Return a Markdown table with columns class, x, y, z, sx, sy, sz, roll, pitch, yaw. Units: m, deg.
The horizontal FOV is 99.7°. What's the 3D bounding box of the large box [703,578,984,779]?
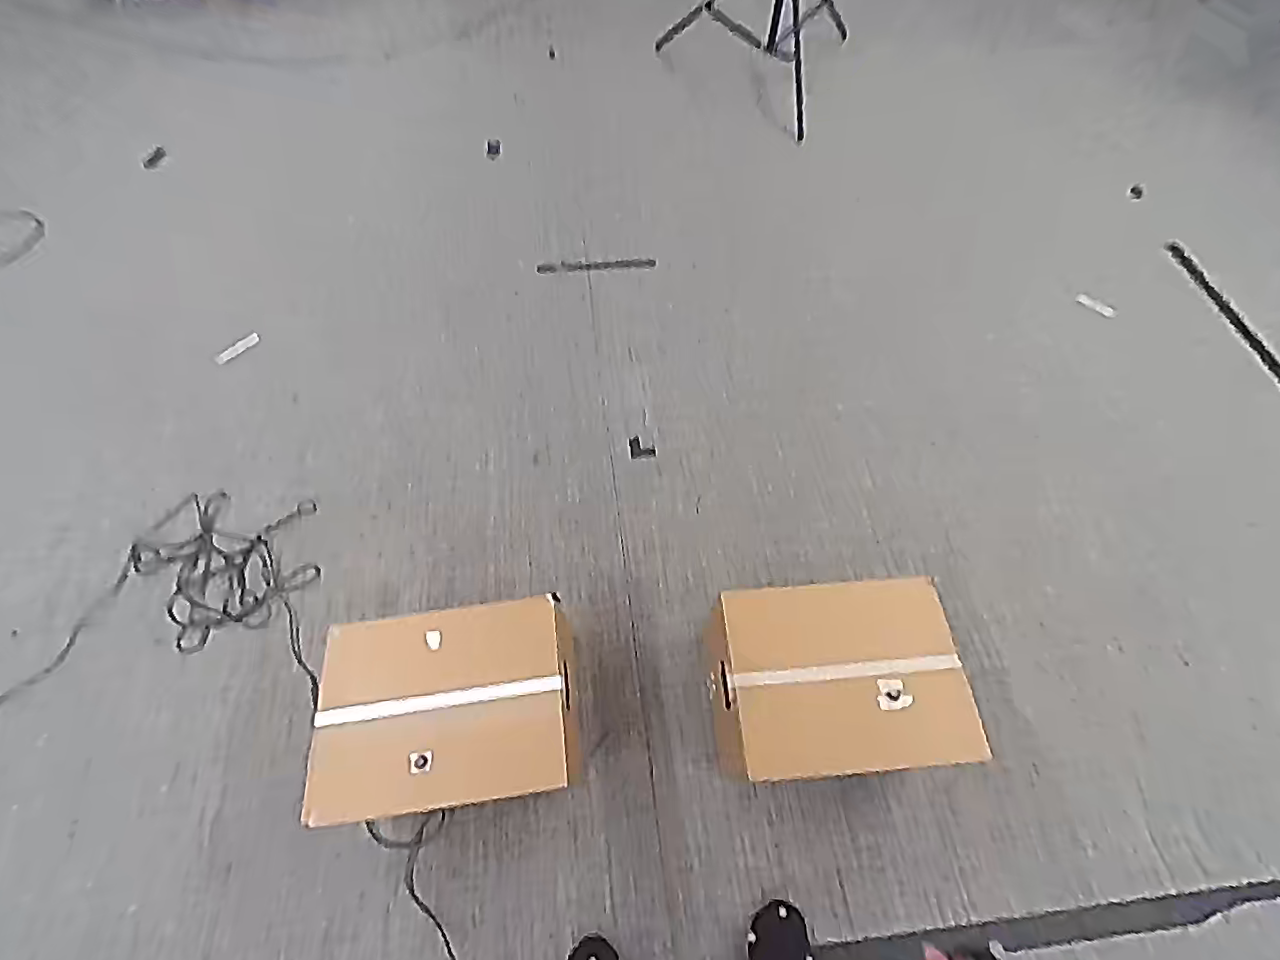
| class | x | y | z | sx | sy | sz | roll | pitch | yaw |
| --- | --- | --- | --- | --- | --- | --- | --- | --- | --- |
| large box | 0.359 | 0.406 | 1.084 | 0.408 | 0.320 | 0.320 | -3 | 62 | -3 |
